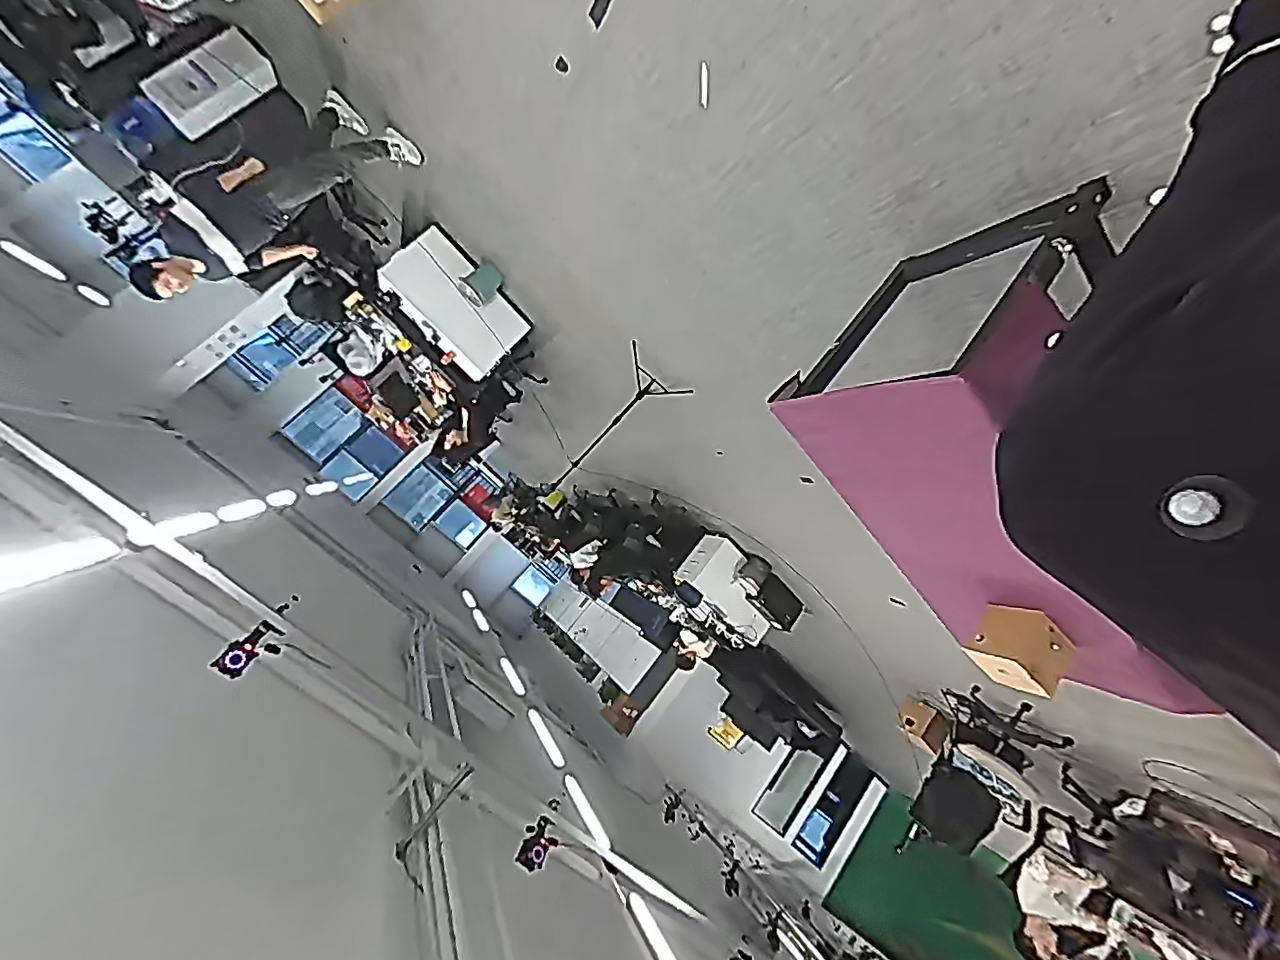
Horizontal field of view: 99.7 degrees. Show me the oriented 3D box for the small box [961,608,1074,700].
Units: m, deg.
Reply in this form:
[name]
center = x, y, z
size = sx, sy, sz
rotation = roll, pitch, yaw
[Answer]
[small box]
center = 1.078, 0.486, 1.545
size = 0.168, 0.176, 0.179
rotation = 43, 164, -9
